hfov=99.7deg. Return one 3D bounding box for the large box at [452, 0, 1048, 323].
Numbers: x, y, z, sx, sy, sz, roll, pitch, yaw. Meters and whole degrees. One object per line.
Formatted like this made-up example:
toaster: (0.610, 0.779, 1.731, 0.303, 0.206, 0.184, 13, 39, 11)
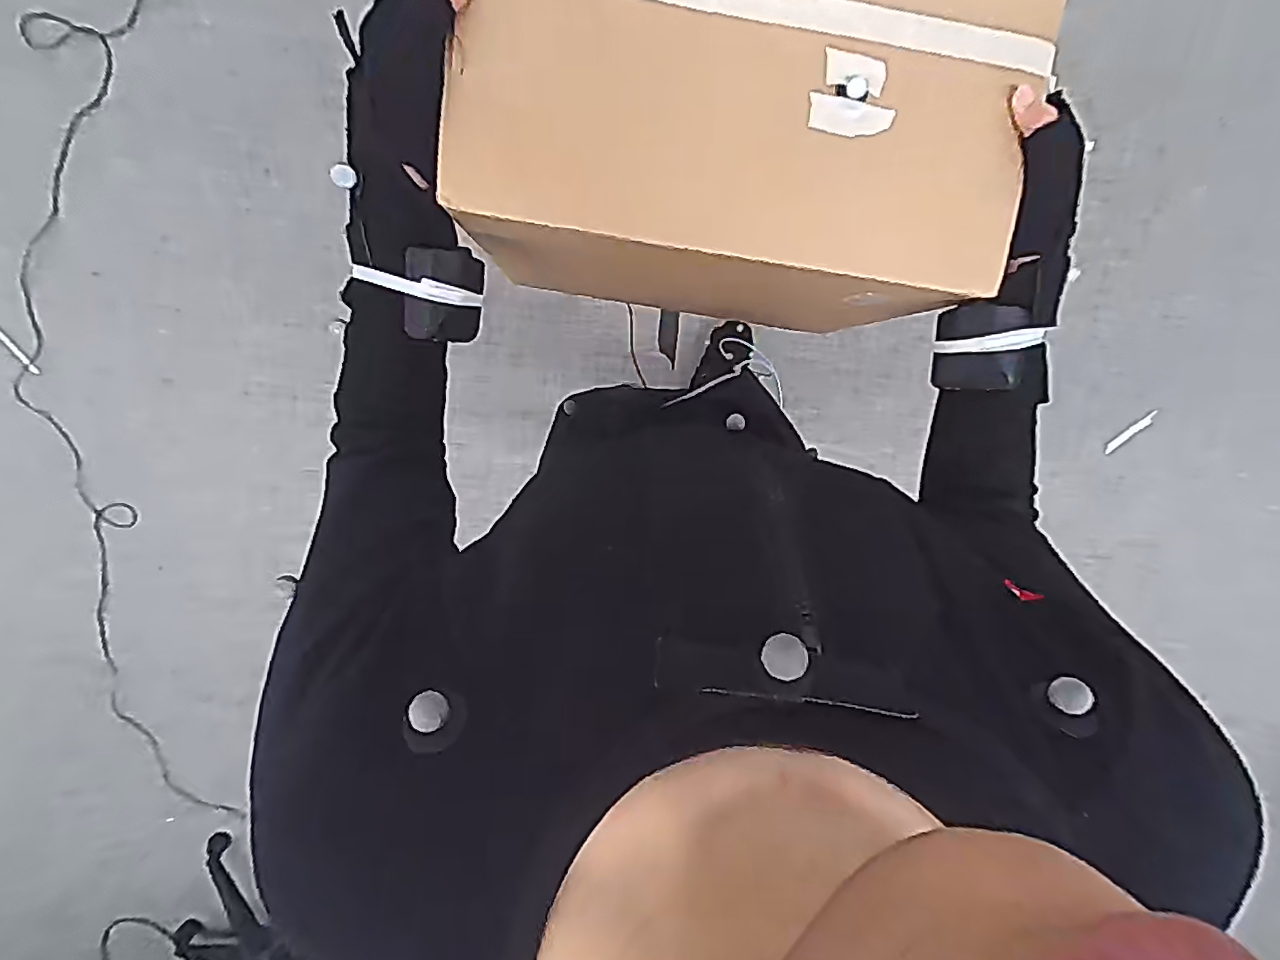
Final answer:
large box: (0.069, -0.343, 0.512, 0.408, 0.320, 0.320, 7, 101, -6)
